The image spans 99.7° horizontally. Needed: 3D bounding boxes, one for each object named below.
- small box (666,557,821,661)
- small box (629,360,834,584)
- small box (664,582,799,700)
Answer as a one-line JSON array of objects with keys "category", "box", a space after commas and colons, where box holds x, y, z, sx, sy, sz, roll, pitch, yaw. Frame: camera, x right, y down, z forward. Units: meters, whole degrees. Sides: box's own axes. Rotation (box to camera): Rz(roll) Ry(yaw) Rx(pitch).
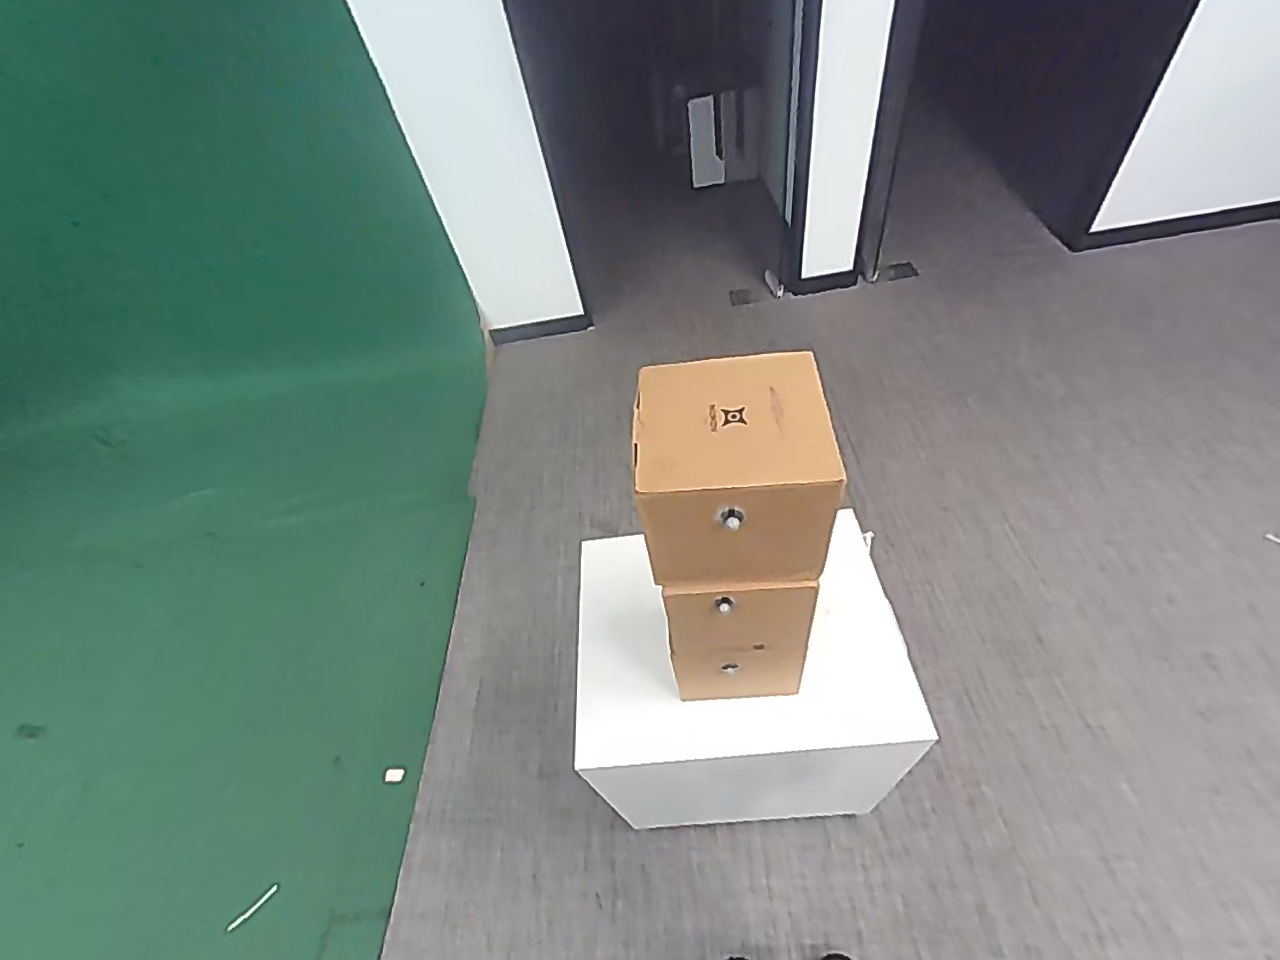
[{"category": "small box", "box": [0.117, 0.109, 0.686, 0.168, 0.176, 0.179, -6, 49, 4]}, {"category": "small box", "box": [0.090, -0.001, 0.566, 0.179, 0.176, 0.168, -4, 51, 7]}, {"category": "small box", "box": [0.133, 0.217, 0.804, 0.179, 0.176, 0.168, -5, 49, 6]}]
